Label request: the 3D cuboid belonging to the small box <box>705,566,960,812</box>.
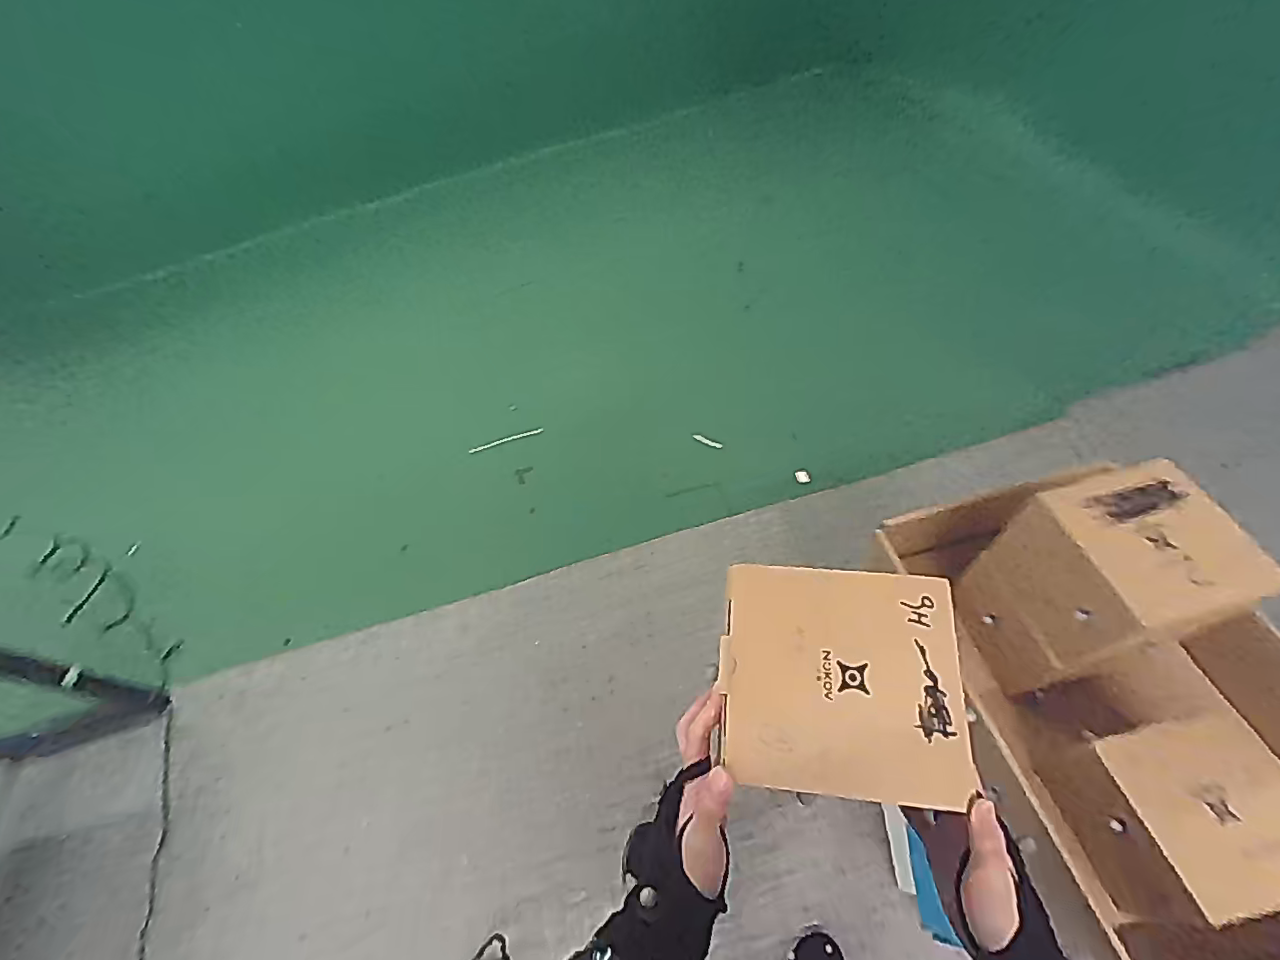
[{"bbox_3d":[0.154,0.184,0.486,0.179,0.176,0.168,2,66,10],"label":"small box"}]
